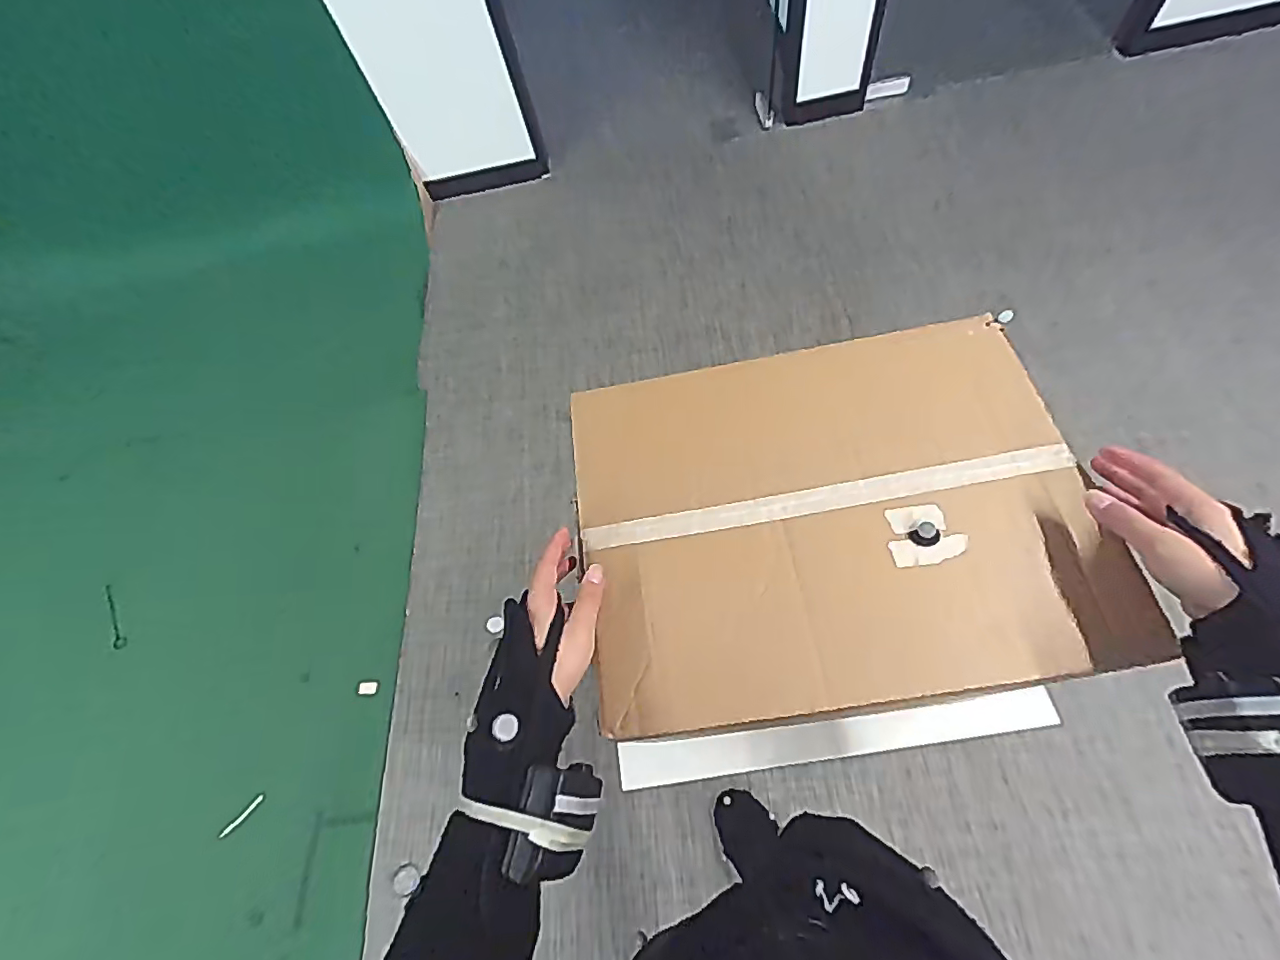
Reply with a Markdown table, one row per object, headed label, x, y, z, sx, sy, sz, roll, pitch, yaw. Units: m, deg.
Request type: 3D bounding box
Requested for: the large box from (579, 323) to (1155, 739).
| label | x | y | z | sx | sy | sz | roll | pitch | yaw |
| --- | --- | --- | --- | --- | --- | --- | --- | --- | --- |
| large box | 0.170 | 0.083 | 0.592 | 0.408 | 0.320 | 0.320 | -10 | 64 | 3 |
